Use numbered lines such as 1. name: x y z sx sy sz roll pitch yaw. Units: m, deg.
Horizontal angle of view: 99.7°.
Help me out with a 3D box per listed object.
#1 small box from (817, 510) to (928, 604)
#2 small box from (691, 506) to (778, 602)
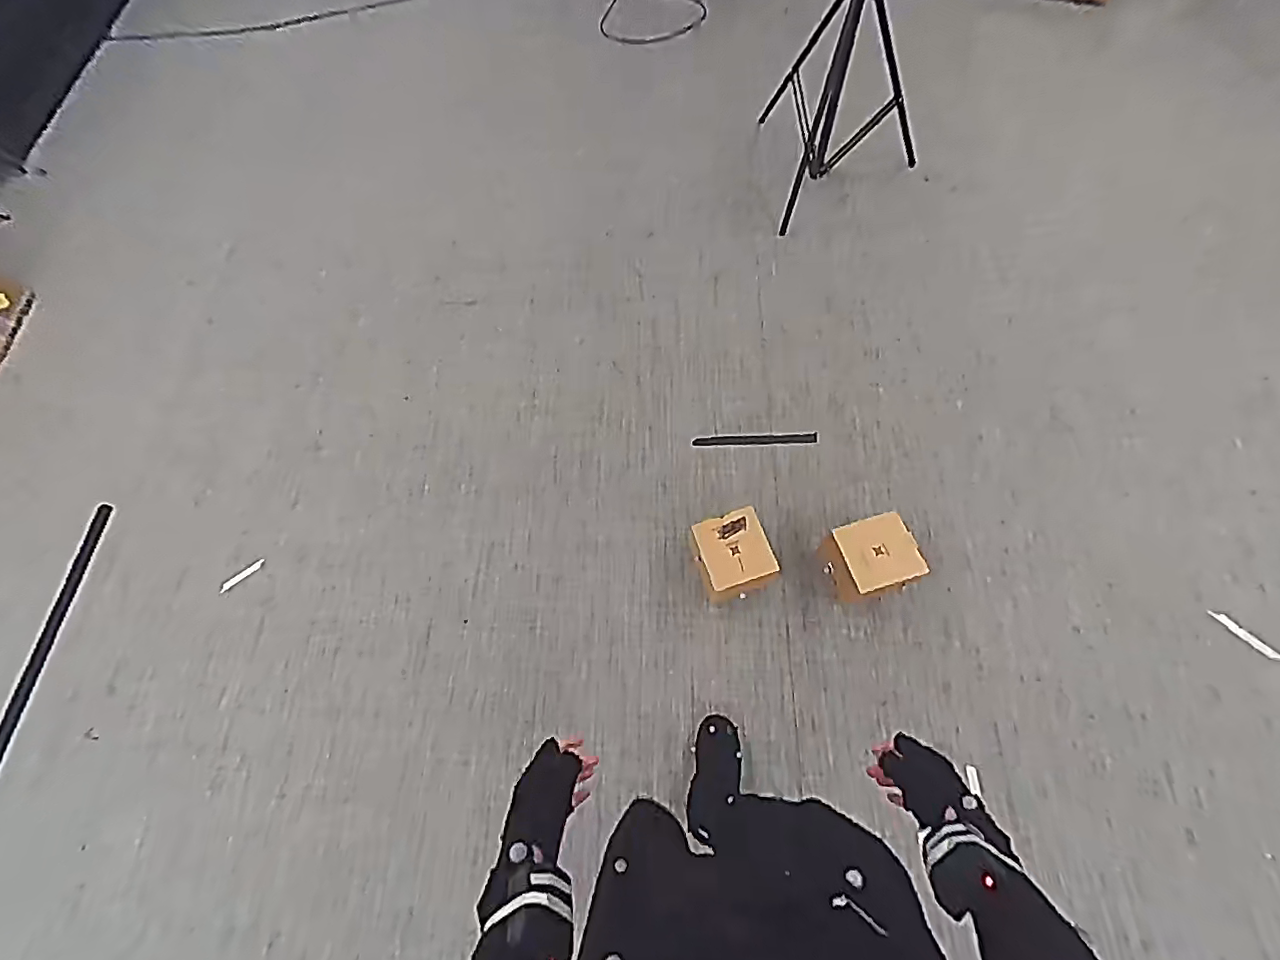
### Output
1. small box: 0.571 0.197 1.353 0.179 0.176 0.168 -18 66 -2
2. small box: 0.231 0.193 1.381 0.168 0.176 0.179 -18 67 -3
